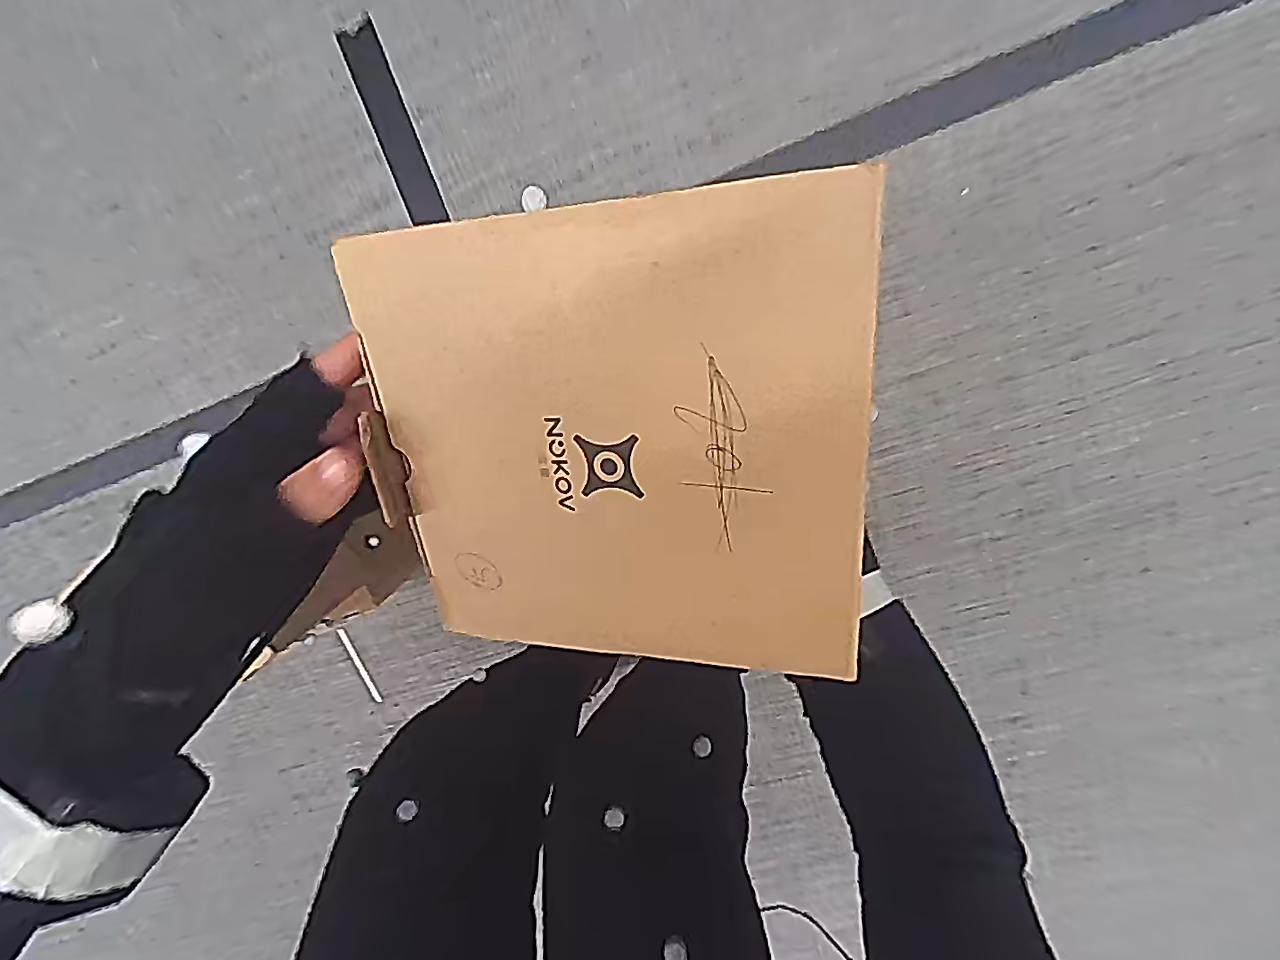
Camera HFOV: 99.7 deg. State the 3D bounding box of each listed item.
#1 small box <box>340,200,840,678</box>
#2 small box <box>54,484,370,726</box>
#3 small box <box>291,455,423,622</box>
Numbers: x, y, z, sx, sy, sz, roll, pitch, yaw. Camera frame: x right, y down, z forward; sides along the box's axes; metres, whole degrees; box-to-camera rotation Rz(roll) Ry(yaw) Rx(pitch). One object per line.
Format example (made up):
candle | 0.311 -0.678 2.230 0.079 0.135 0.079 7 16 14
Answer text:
small box | 0.003 -0.034 0.270 0.179 0.176 0.168 1 114 18
small box | -0.451 0.123 0.601 0.168 0.176 0.179 -32 104 15
small box | -0.427 0.084 0.759 0.168 0.176 0.179 -19 103 11
